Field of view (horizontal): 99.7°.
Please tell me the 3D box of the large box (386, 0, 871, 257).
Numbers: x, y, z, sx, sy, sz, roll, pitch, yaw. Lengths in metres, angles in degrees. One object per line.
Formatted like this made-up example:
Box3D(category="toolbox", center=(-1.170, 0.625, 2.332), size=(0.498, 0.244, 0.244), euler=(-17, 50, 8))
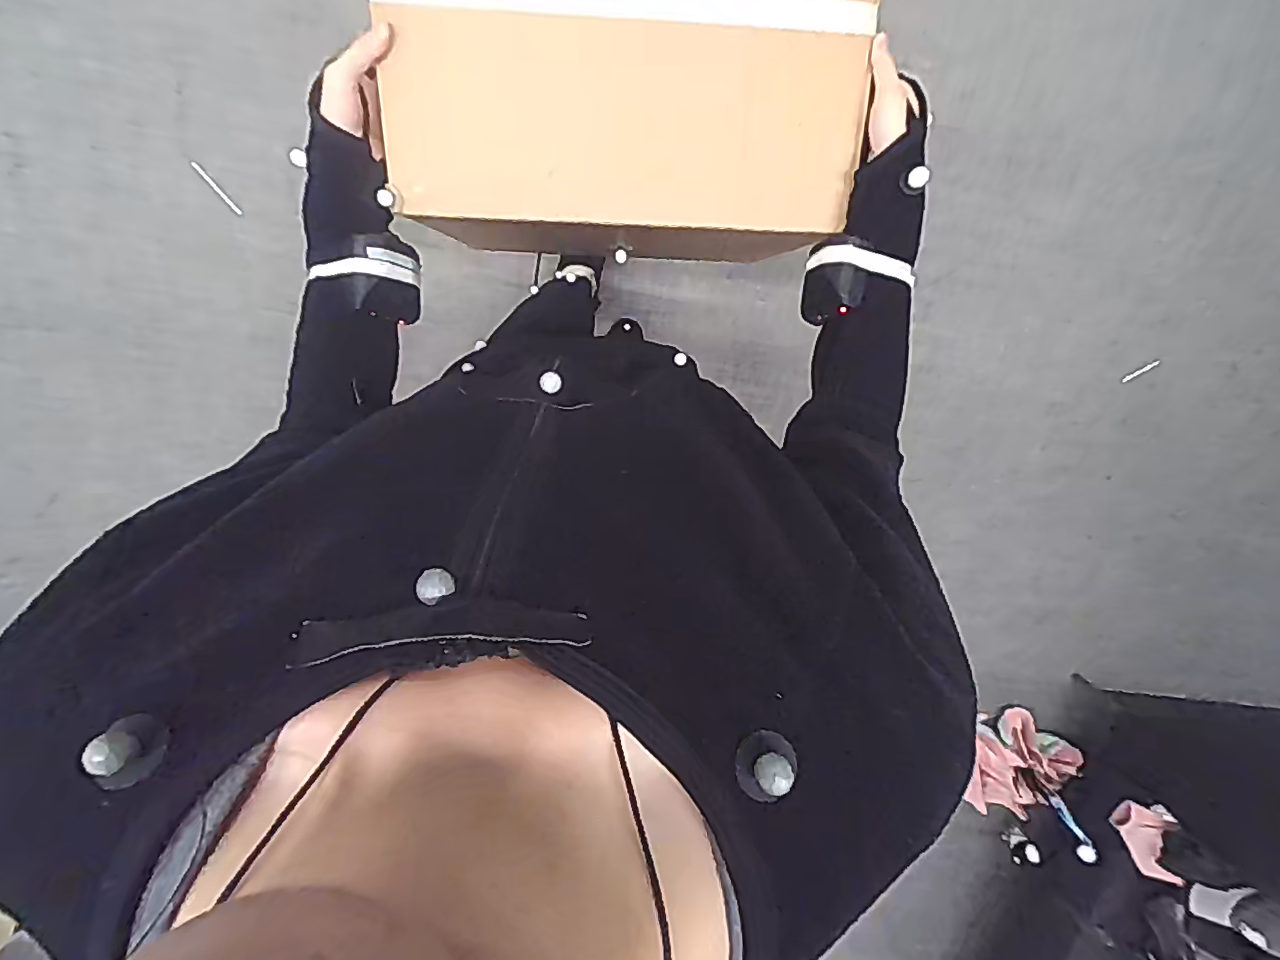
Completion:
Box3D(category="large box", center=(-0.013, -0.421, 0.587), size=(0.408, 0.320, 0.320), euler=(0, 106, -3))
